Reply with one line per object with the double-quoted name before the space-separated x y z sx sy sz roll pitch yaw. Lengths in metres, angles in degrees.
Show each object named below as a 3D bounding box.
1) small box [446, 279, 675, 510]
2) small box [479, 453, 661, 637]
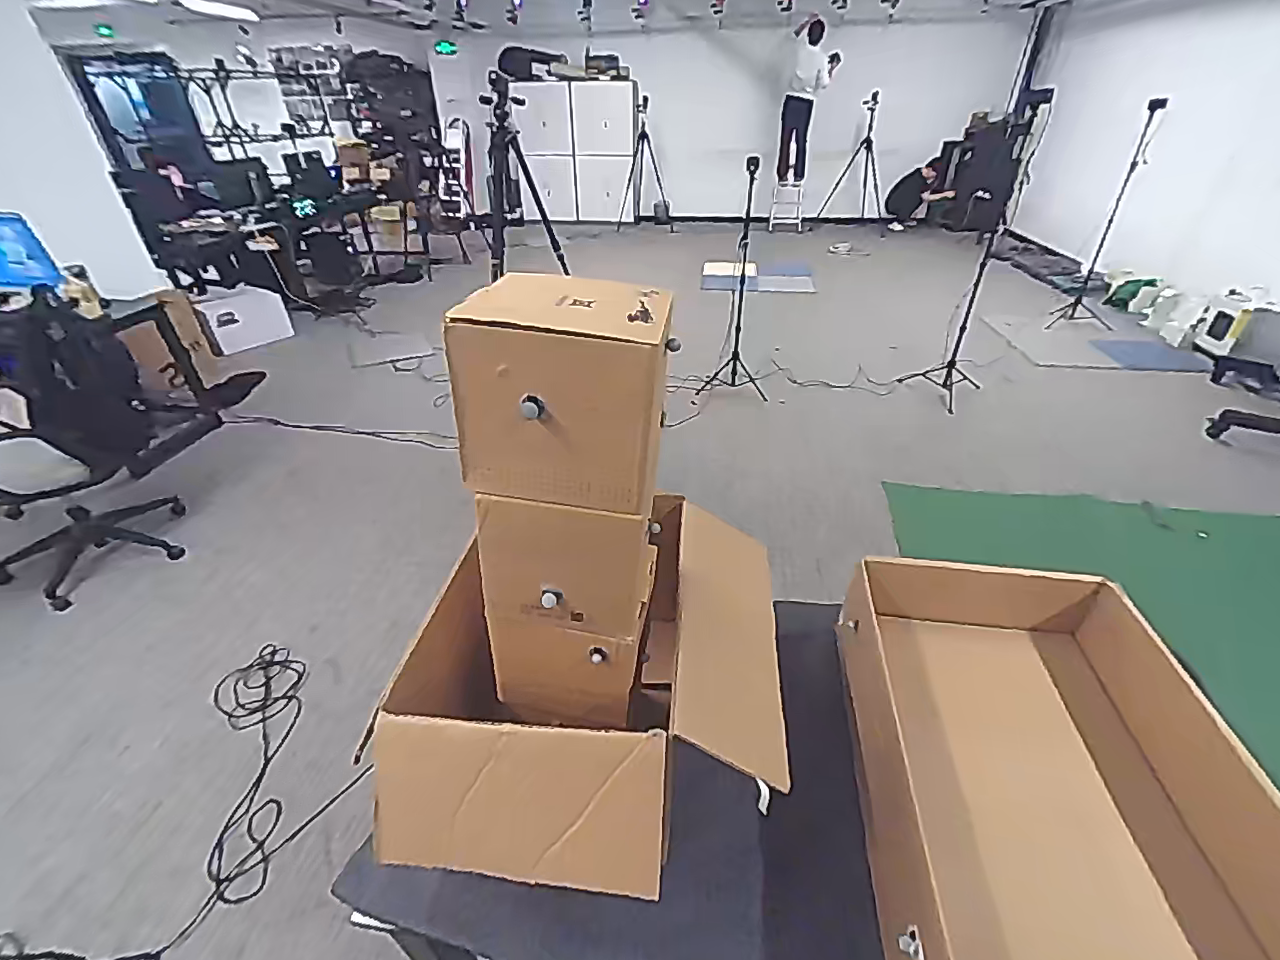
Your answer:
"small box" -0.065 -0.087 0.532 0.179 0.176 0.168 7 34 4
"small box" -0.071 0.049 0.623 0.168 0.176 0.179 7 34 4
